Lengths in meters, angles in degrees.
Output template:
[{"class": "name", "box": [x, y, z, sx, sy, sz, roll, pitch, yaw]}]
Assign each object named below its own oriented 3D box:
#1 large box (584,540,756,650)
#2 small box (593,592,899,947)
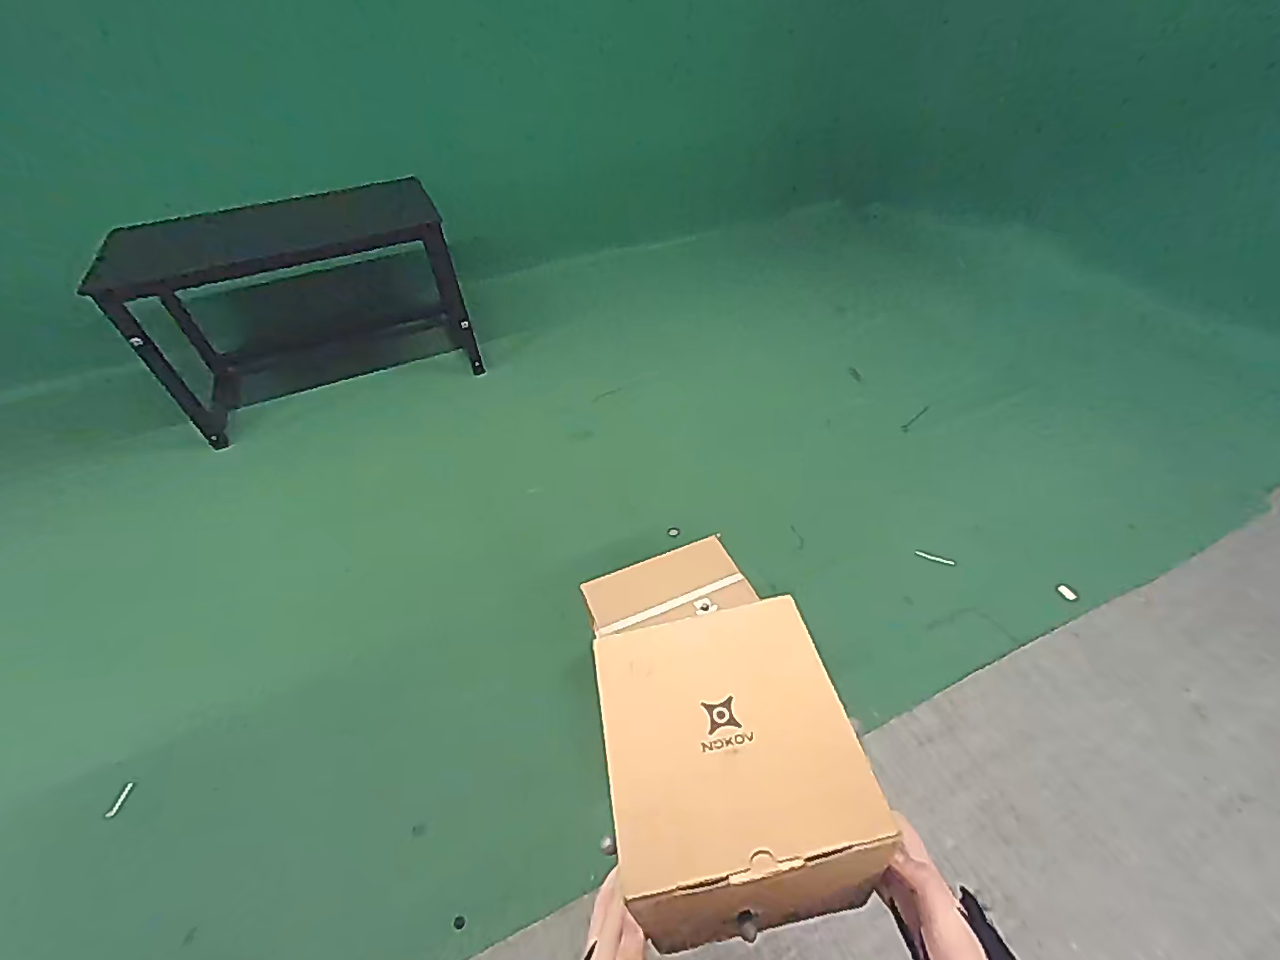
[{"class": "large box", "box": [0.097, 0.429, 1.459, 0.408, 0.320, 0.320, -18, 47, -14]}, {"class": "small box", "box": [0.064, 0.219, 0.416, 0.168, 0.176, 0.179, -12, 41, -2]}]
